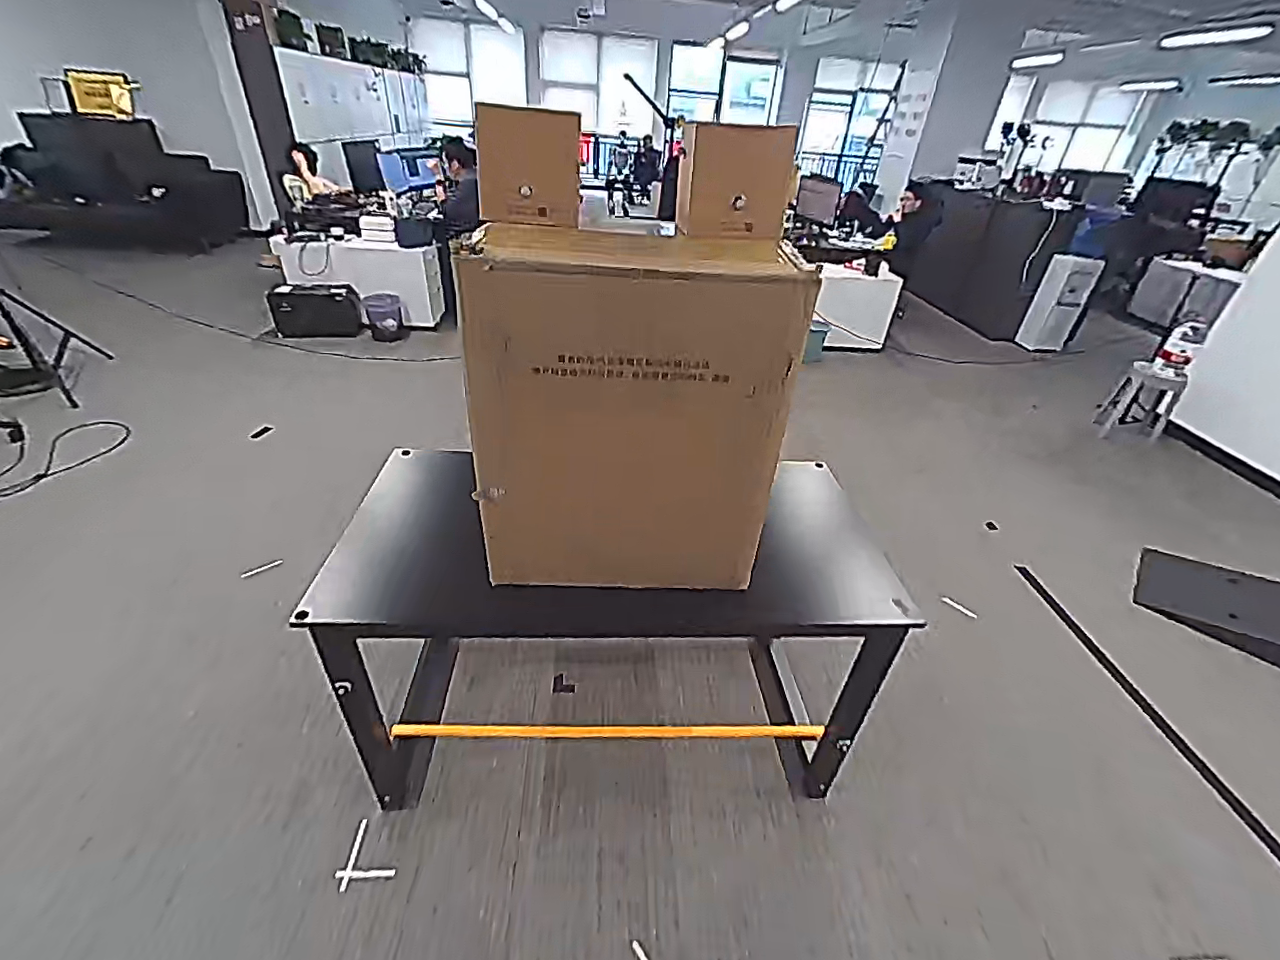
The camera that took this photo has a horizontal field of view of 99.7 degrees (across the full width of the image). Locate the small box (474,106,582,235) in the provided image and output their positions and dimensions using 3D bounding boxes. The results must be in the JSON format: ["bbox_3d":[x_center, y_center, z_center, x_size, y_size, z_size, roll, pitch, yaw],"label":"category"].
[{"bbox_3d":[-0.191,-0.537,0.941,0.168,0.176,0.179,-1,33,-10],"label":"small box"}]

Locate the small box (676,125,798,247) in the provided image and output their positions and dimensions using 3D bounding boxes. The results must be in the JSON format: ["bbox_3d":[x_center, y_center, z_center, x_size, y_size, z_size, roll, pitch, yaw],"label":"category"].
[{"bbox_3d":[0.158,-0.517,0.951,0.168,0.176,0.179,0,32,-4],"label":"small box"}]
